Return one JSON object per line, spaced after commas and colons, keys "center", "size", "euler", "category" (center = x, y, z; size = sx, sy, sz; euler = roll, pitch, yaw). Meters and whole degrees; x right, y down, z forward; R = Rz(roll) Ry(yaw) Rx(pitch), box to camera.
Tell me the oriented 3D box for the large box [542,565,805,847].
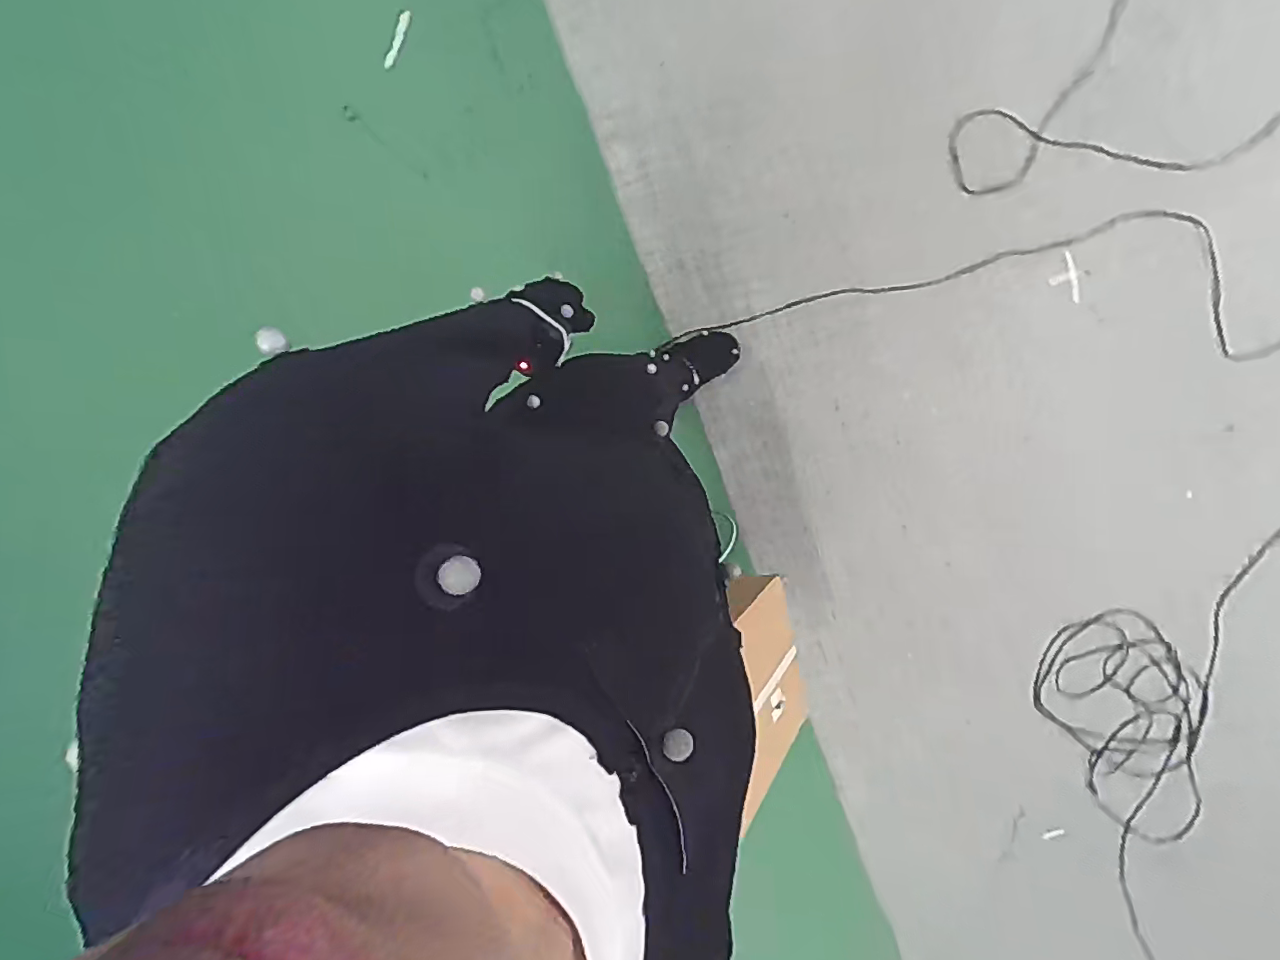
{"center": [0.083, 0.387, 1.049], "size": [0.320, 0.408, 0.320], "euler": [-6, 101, 36], "category": "large box"}
